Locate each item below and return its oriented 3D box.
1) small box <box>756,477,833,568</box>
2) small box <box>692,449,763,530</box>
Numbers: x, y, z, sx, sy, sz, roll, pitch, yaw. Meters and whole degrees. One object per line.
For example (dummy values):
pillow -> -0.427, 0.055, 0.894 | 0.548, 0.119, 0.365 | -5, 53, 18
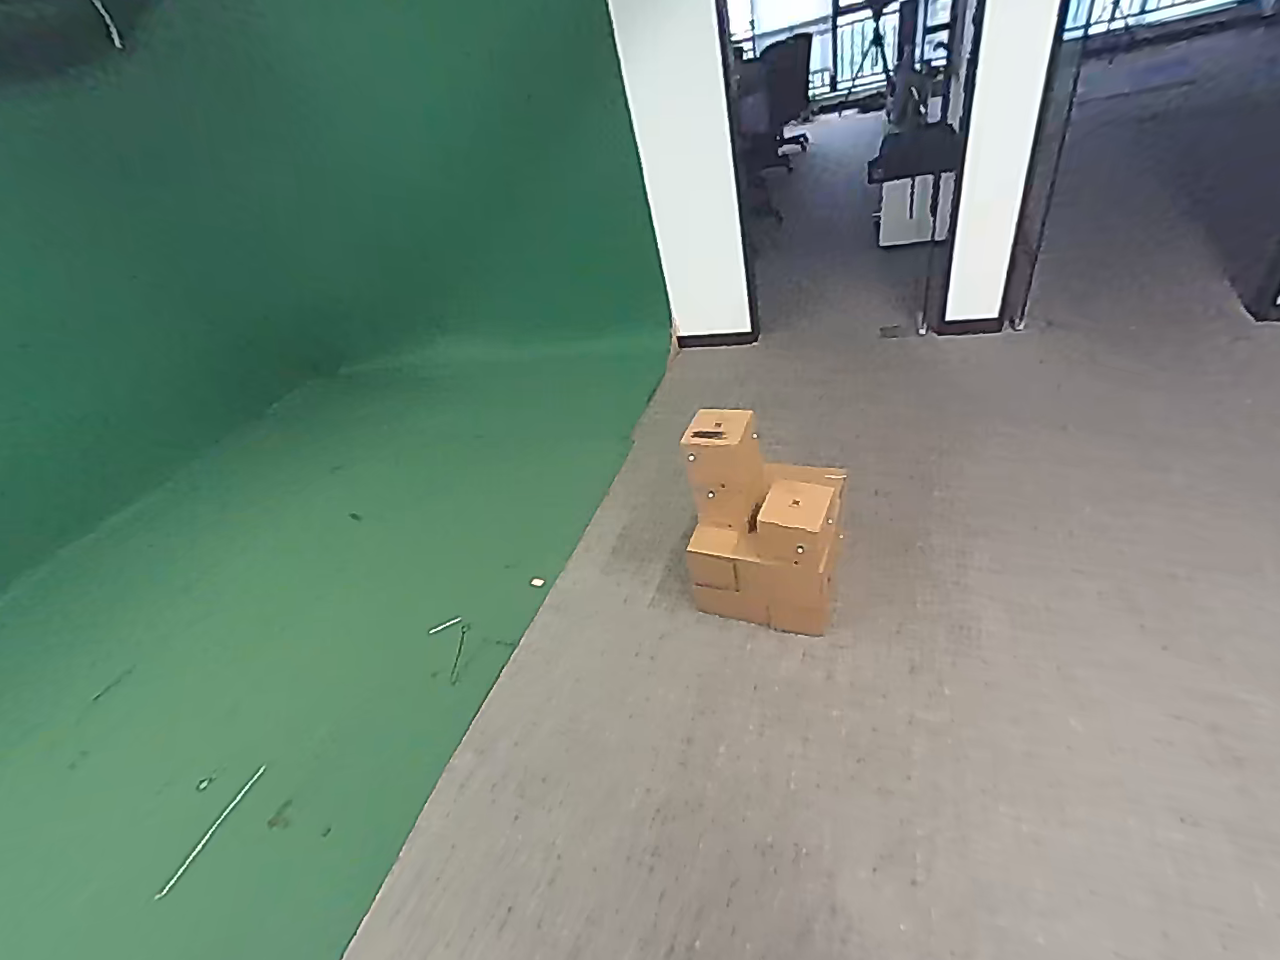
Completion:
small box -> 0.435, 0.119, 1.503 | 0.168, 0.176, 0.179 | 10, 44, 28
small box -> 0.278, 0.028, 1.673 | 0.168, 0.176, 0.179 | 8, 43, 29
